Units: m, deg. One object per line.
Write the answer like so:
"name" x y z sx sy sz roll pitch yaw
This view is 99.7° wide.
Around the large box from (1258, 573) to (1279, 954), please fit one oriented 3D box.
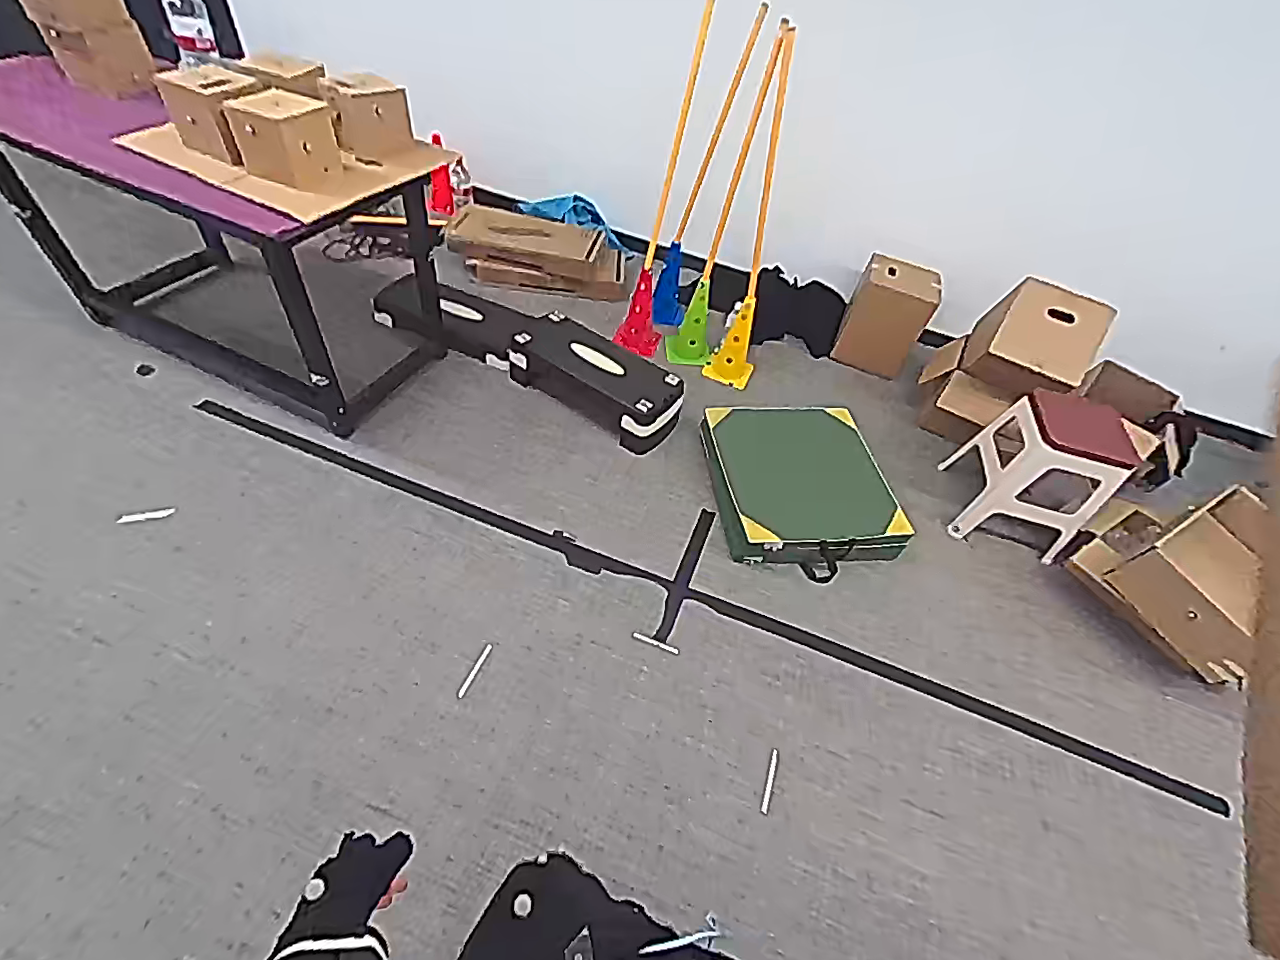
"large box" 0.631 0.119 0.329 0.320 0.408 0.320 -4 8 -40
